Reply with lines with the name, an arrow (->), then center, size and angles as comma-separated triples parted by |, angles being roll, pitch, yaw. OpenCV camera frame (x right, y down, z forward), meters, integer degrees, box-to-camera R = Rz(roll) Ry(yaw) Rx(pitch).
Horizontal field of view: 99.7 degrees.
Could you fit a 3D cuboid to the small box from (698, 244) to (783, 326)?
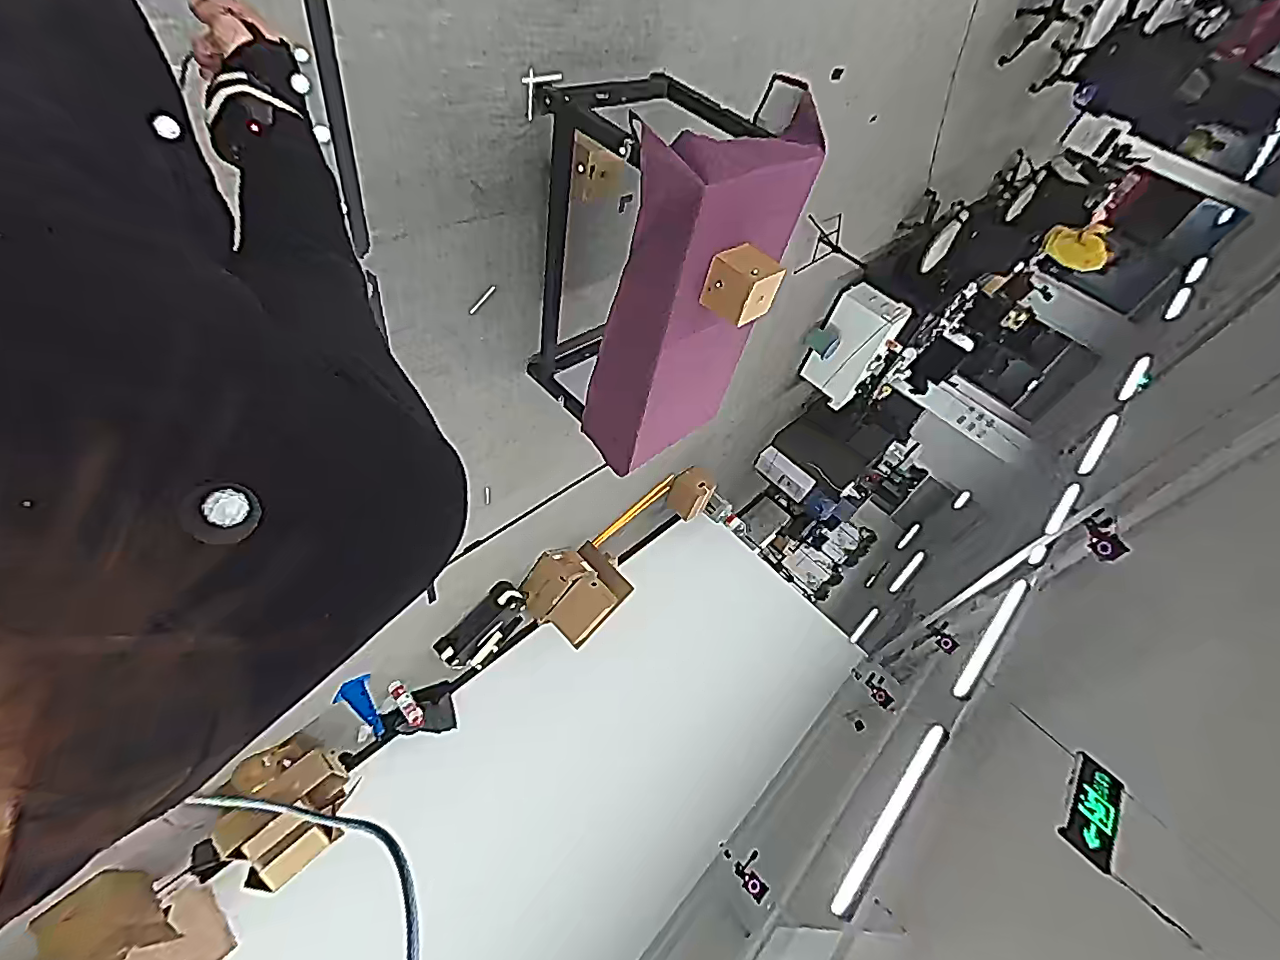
small box -> 0.318, -0.632, 1.737 | 0.179, 0.176, 0.168 | -33, 156, -33
